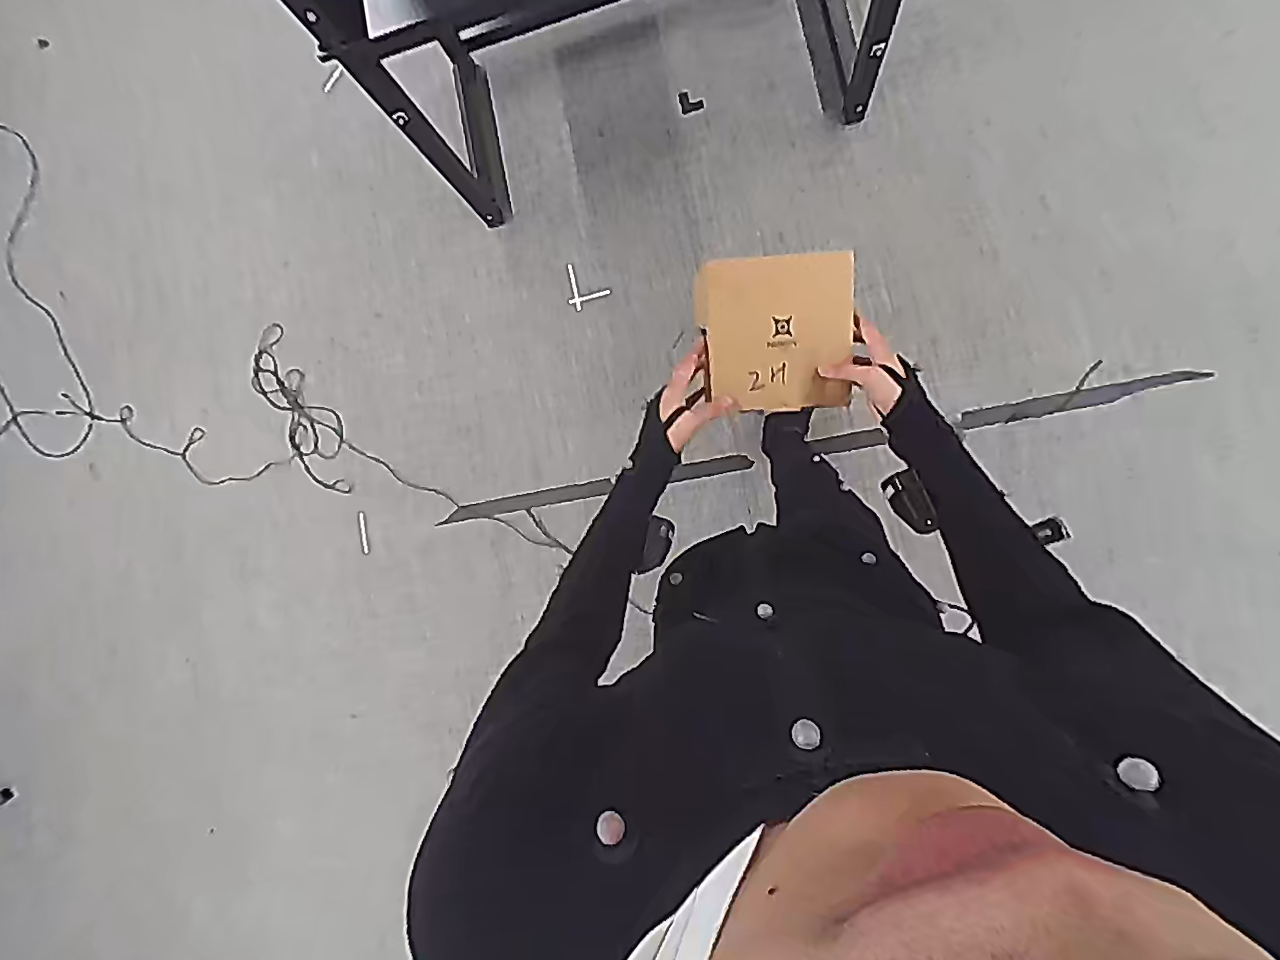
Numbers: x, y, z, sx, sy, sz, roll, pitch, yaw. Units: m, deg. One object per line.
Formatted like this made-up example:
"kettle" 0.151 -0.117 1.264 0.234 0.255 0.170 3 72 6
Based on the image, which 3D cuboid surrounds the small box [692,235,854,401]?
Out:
"small box" 0.158 -0.197 0.689 0.168 0.176 0.179 -4 103 1
